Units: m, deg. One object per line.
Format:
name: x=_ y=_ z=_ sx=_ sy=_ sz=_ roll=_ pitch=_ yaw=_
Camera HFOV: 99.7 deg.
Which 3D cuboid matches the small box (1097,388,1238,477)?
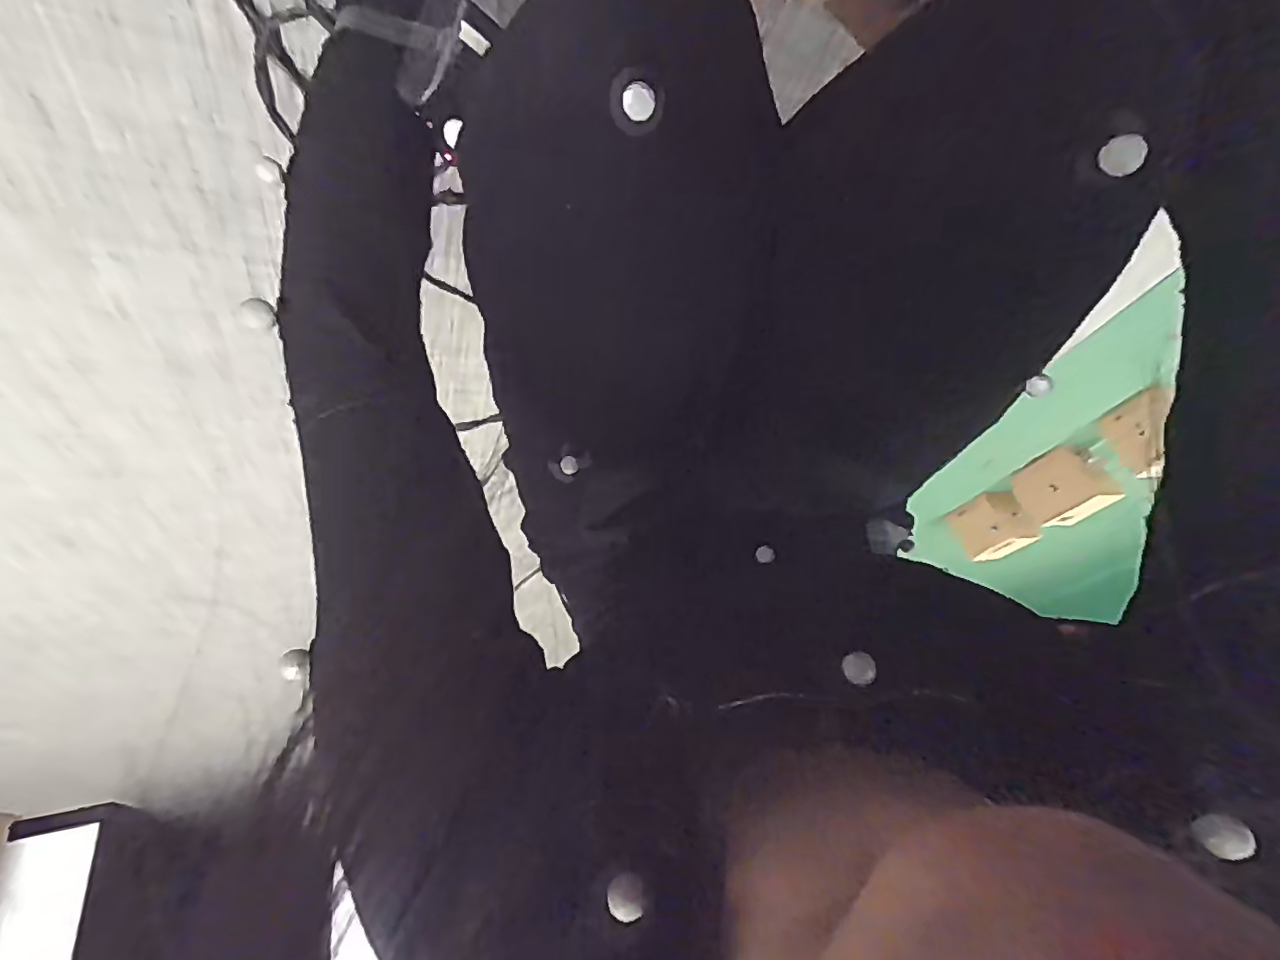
small box: x=1.351 y=-0.122 z=1.398 sx=0.179 sy=0.176 sz=0.168 roll=-1 pitch=148 yaw=-23
